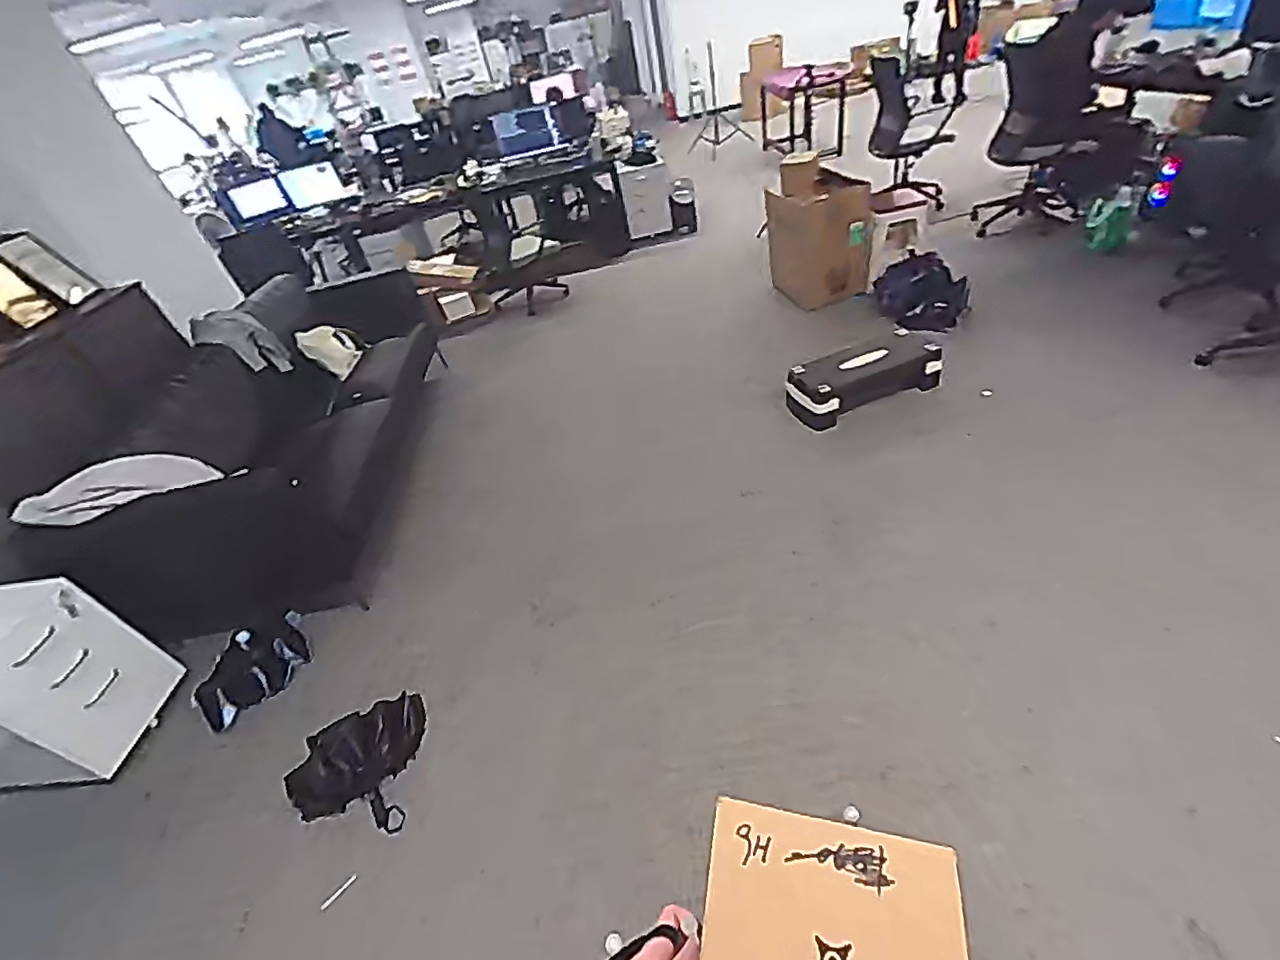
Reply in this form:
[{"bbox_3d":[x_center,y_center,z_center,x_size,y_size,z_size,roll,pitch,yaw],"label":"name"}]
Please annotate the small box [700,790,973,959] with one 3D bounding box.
[{"bbox_3d":[0.134,0.359,0.411,0.168,0.176,0.179,7,56,10],"label":"small box"}]
